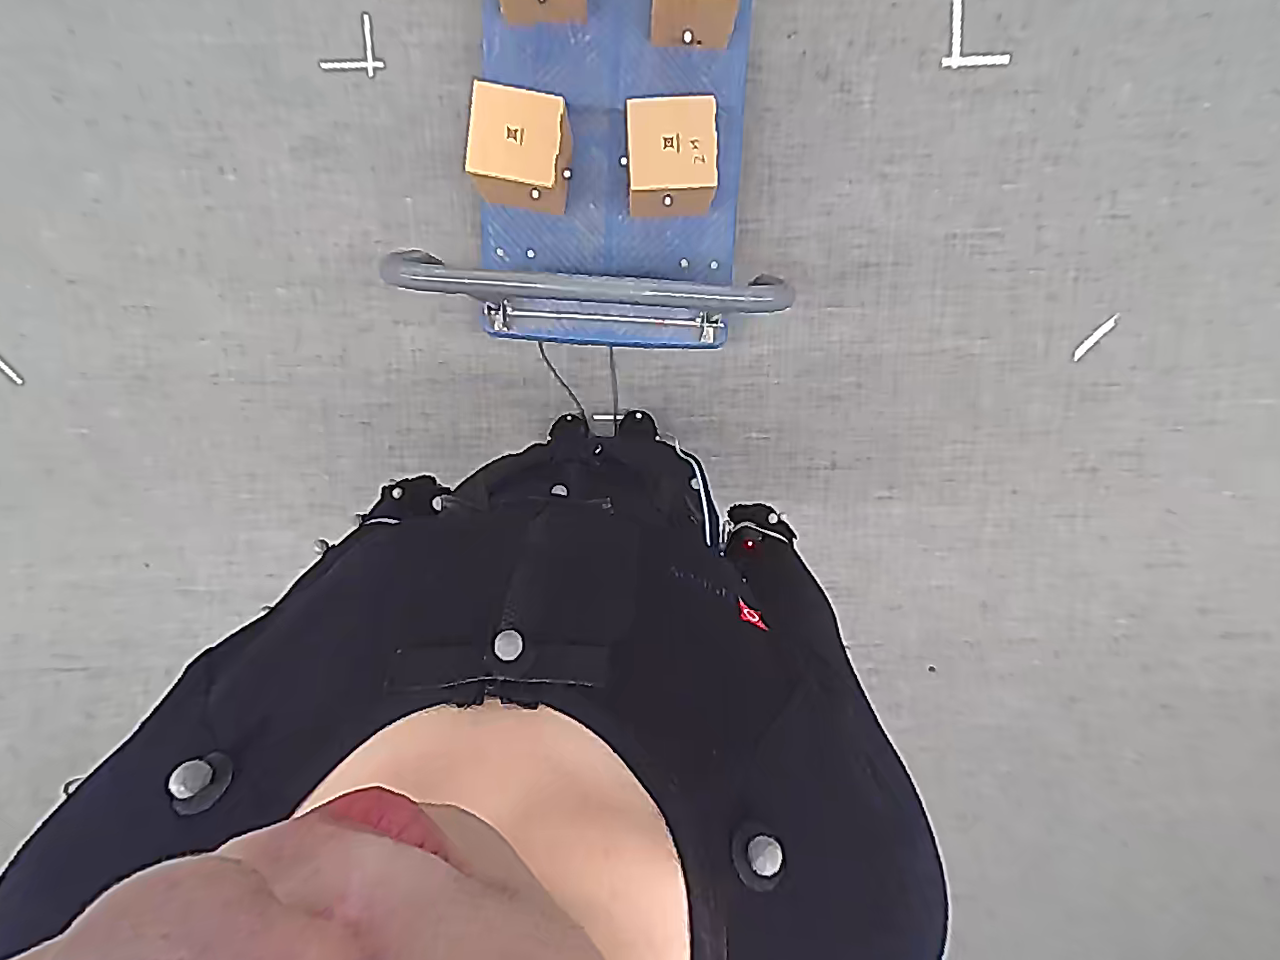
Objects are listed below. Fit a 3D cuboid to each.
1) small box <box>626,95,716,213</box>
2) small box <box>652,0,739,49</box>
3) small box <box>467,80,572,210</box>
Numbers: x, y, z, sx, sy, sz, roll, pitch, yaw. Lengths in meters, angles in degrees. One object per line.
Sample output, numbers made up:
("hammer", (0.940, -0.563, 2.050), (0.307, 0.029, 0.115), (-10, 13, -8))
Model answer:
("small box", (0.061, -0.674, 1.136), (0.179, 0.176, 0.168), (-2, 99, -1))
("small box", (0.112, -1.019, 1.083), (0.168, 0.176, 0.179), (3, 100, -2))
("small box", (-0.245, -0.686, 1.127), (0.179, 0.176, 0.168), (8, 98, -4))
